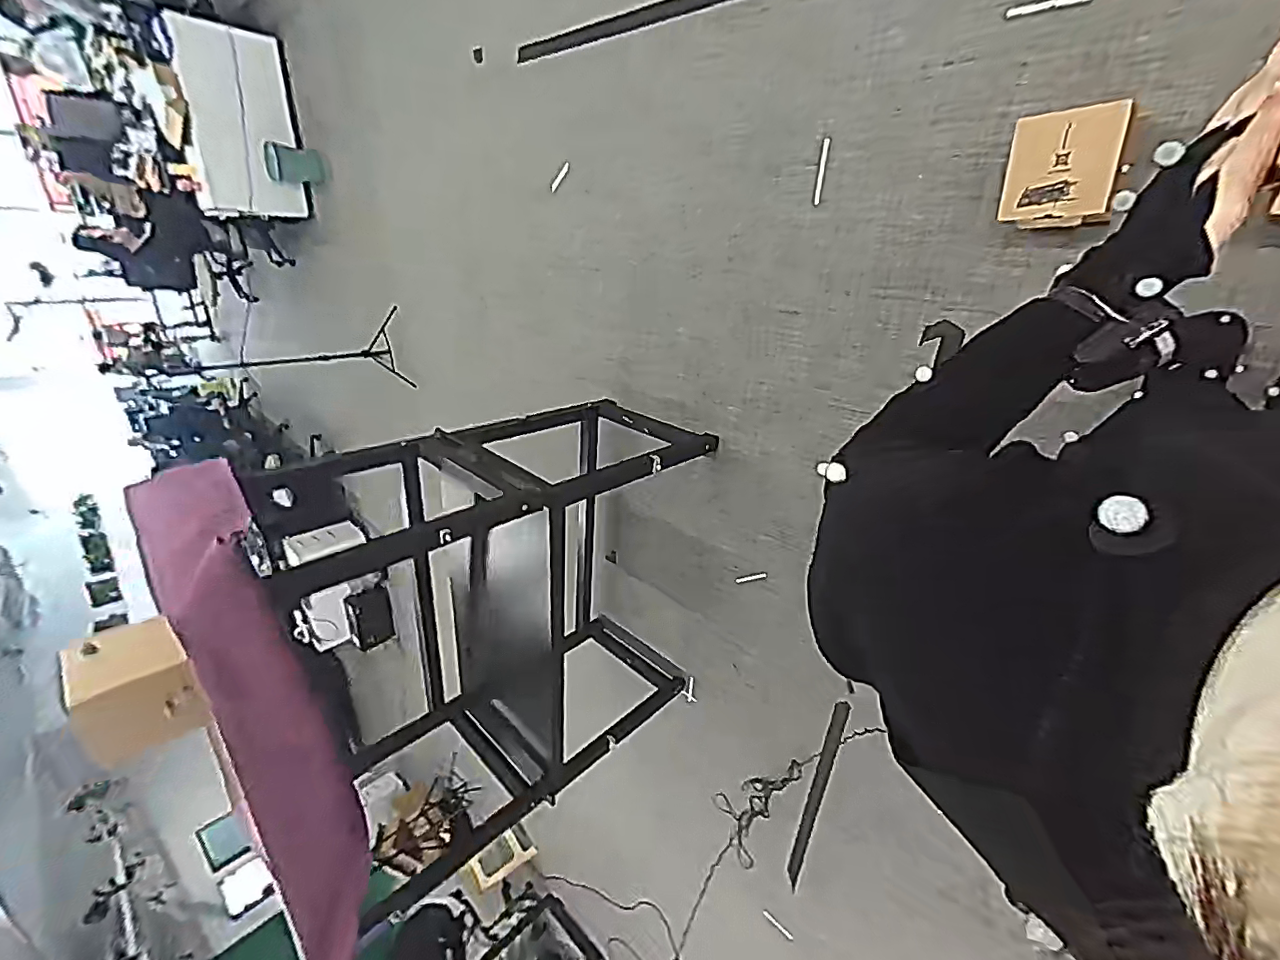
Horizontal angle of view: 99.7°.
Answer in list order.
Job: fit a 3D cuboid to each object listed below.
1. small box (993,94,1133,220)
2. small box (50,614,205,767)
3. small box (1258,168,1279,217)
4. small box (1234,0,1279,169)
[{"bbox_3d":[0.792,-0.589,1.012,0.168,0.176,0.179,18,117,40],"label":"small box"},{"bbox_3d":[-0.940,0.374,1.001,0.179,0.176,0.168,28,125,36],"label":"small box"},{"bbox_3d":[1.065,-0.471,0.783,0.179,0.176,0.168,27,123,37],"label":"small box"},{"bbox_3d":[0.420,-0.243,0.238,0.179,0.176,0.168,14,121,37],"label":"small box"}]
